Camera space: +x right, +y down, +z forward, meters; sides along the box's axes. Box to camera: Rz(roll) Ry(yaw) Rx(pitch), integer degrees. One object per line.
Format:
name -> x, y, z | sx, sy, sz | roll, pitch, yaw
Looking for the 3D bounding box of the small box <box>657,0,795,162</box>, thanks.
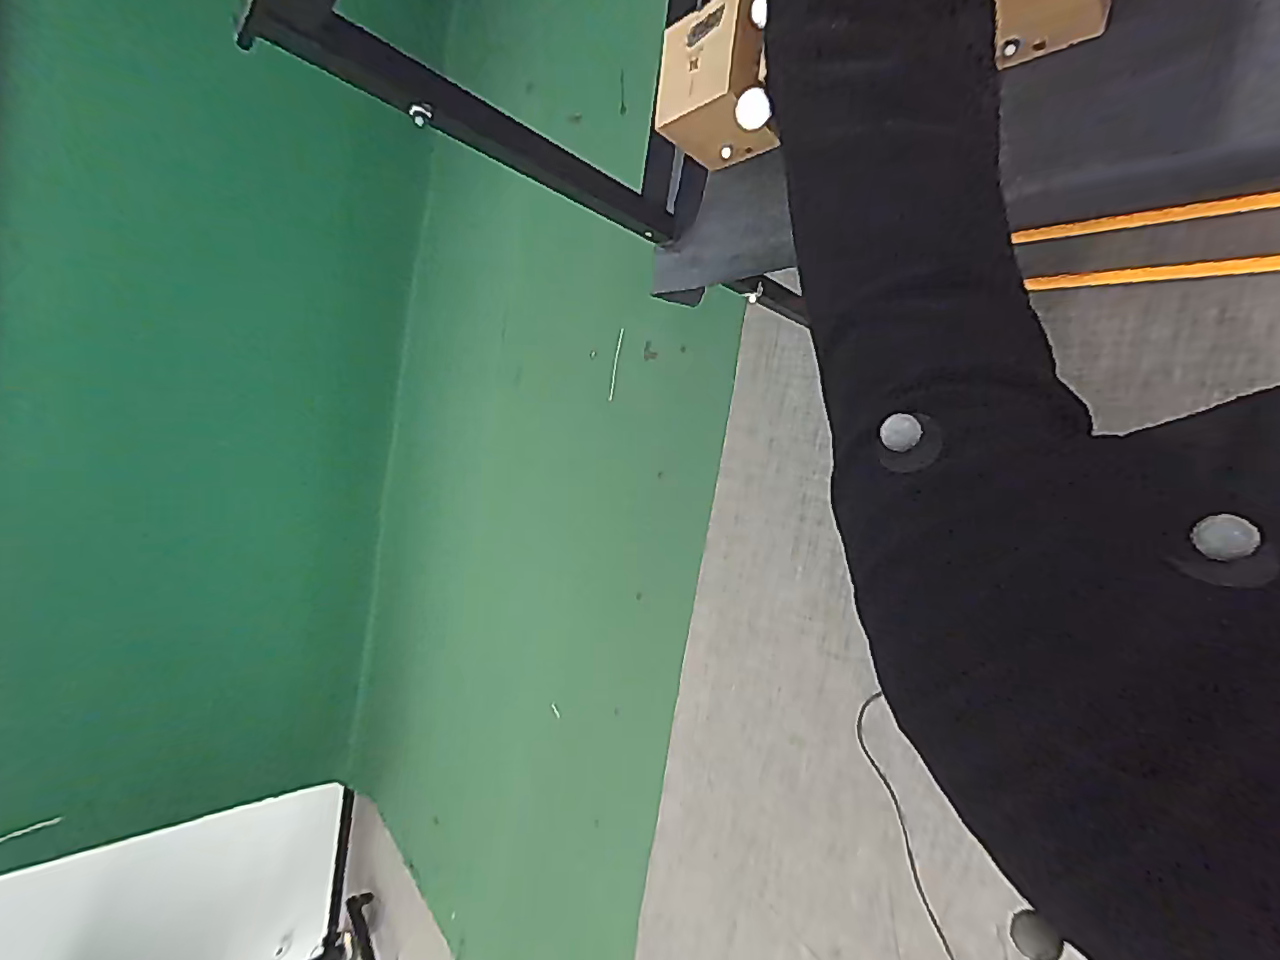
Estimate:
small box -> 0.154, -0.704, 0.949 | 0.168, 0.176, 0.179 | 9, 94, 46
